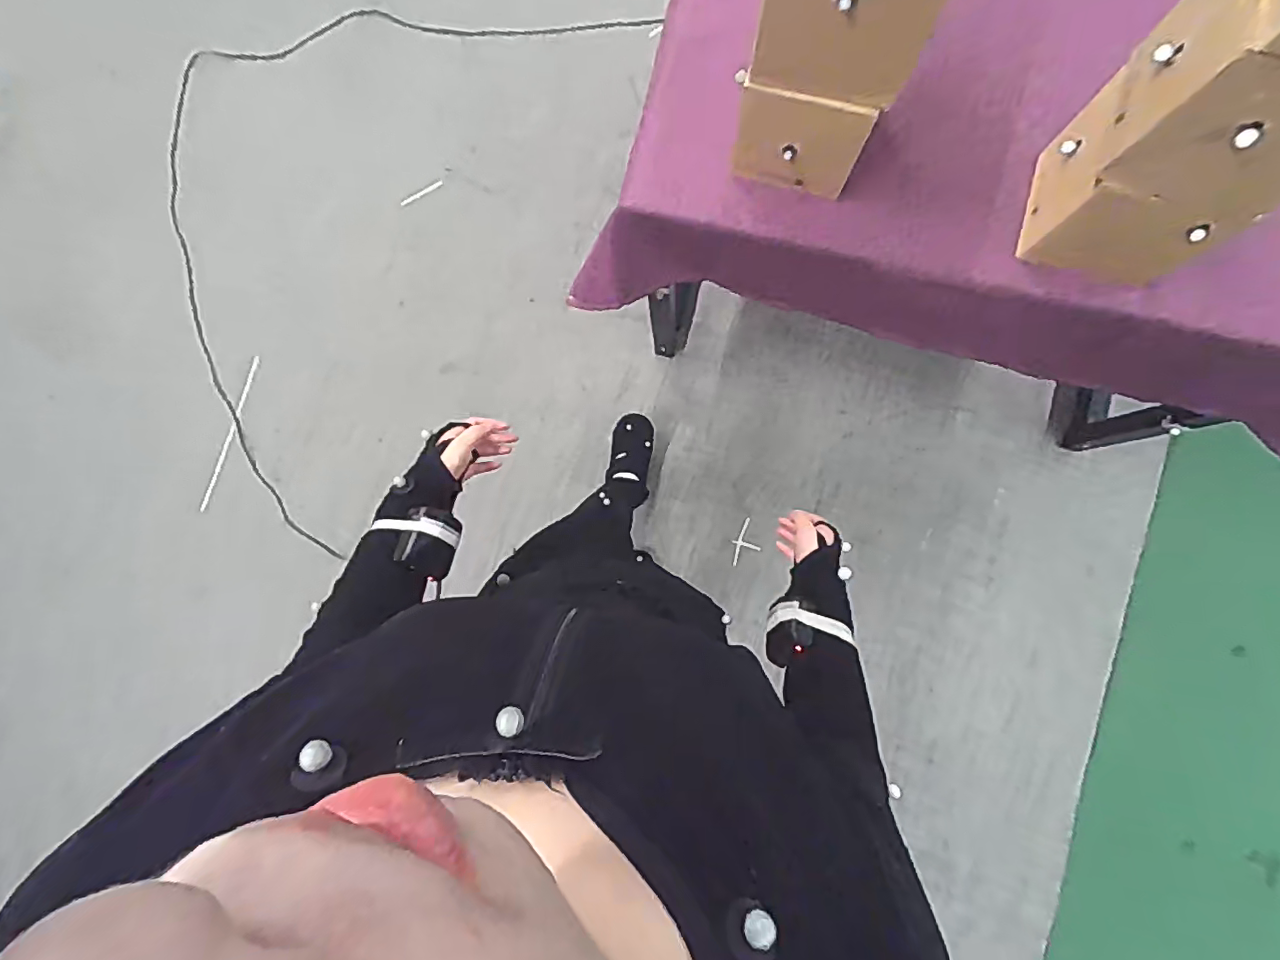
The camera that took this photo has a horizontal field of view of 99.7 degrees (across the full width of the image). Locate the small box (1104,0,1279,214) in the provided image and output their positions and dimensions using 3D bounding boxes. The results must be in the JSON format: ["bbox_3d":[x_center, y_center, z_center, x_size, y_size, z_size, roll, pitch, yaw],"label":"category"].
[{"bbox_3d":[0.617,-0.395,0.528,0.179,0.176,0.168,20,87,6],"label":"small box"}]

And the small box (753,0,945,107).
[{"bbox_3d":[0.228,-0.535,0.565,0.179,0.176,0.168,16,87,4],"label":"small box"}]

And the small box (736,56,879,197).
[{"bbox_3d":[0.233,-0.521,0.727,0.168,0.176,0.179,17,86,4],"label":"small box"}]

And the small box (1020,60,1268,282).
[{"bbox_3d":[0.634,-0.377,0.690,0.179,0.176,0.168,16,86,5],"label":"small box"}]
